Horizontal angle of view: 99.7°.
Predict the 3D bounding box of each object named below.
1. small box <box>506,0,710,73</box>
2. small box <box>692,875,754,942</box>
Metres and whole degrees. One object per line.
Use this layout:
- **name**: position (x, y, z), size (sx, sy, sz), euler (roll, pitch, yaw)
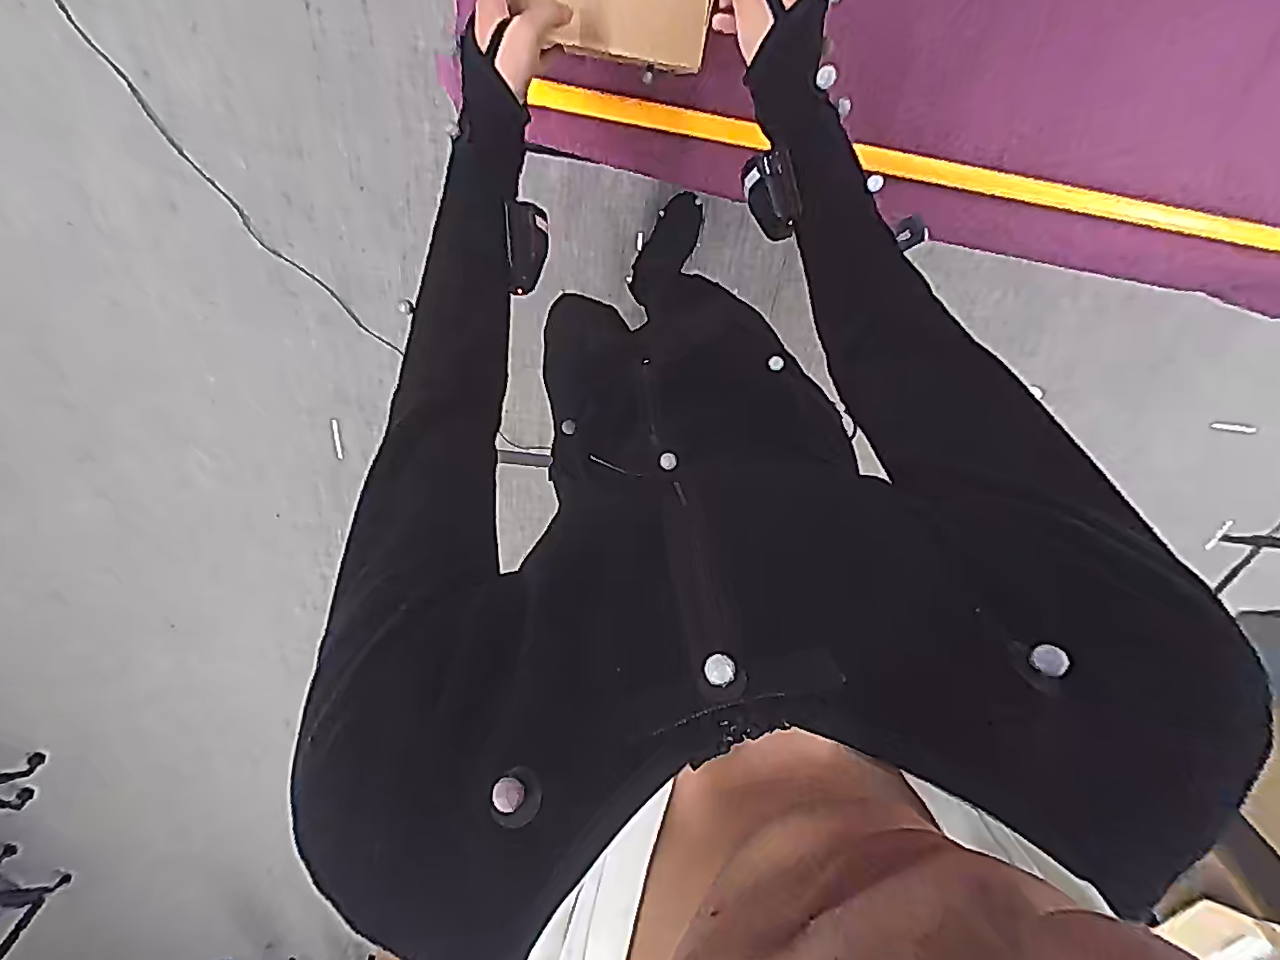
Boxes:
- **small box**: position (-0.027, -0.498, 0.505), size (0.179, 0.176, 0.168), euler (4, 125, -8)
- **small box**: position (0.311, 1.650, 2.075), size (0.168, 0.176, 0.179), euler (20, 121, -14)
